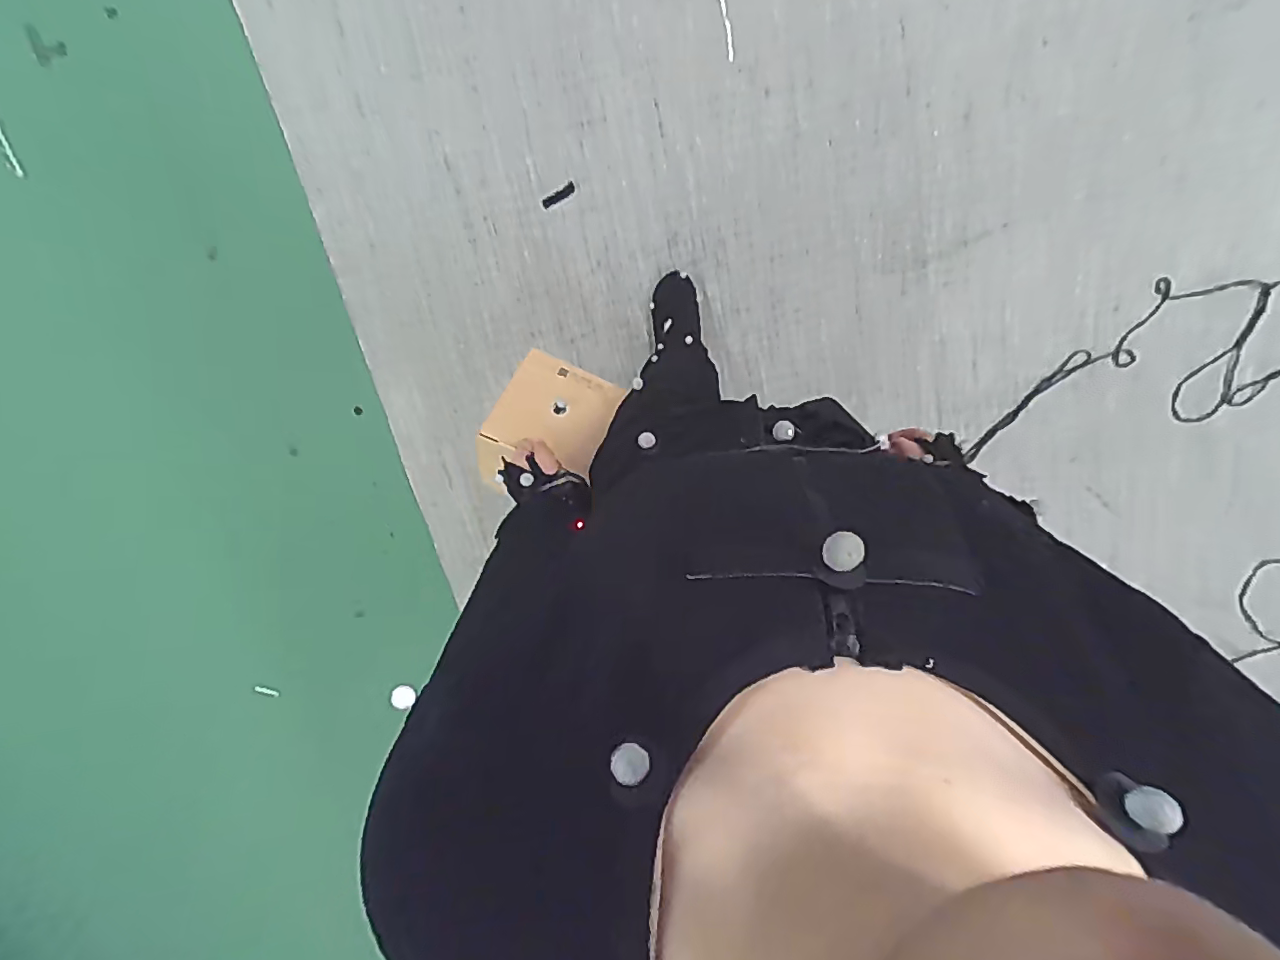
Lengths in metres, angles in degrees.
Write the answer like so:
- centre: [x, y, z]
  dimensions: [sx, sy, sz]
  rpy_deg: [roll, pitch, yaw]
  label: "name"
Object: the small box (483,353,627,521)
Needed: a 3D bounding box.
- centre: [-0.133, -0.066, 0.849]
  dimensions: [0.168, 0.179, 0.176]
  rpy_deg: [24, 61, -3]
  label: "small box"
